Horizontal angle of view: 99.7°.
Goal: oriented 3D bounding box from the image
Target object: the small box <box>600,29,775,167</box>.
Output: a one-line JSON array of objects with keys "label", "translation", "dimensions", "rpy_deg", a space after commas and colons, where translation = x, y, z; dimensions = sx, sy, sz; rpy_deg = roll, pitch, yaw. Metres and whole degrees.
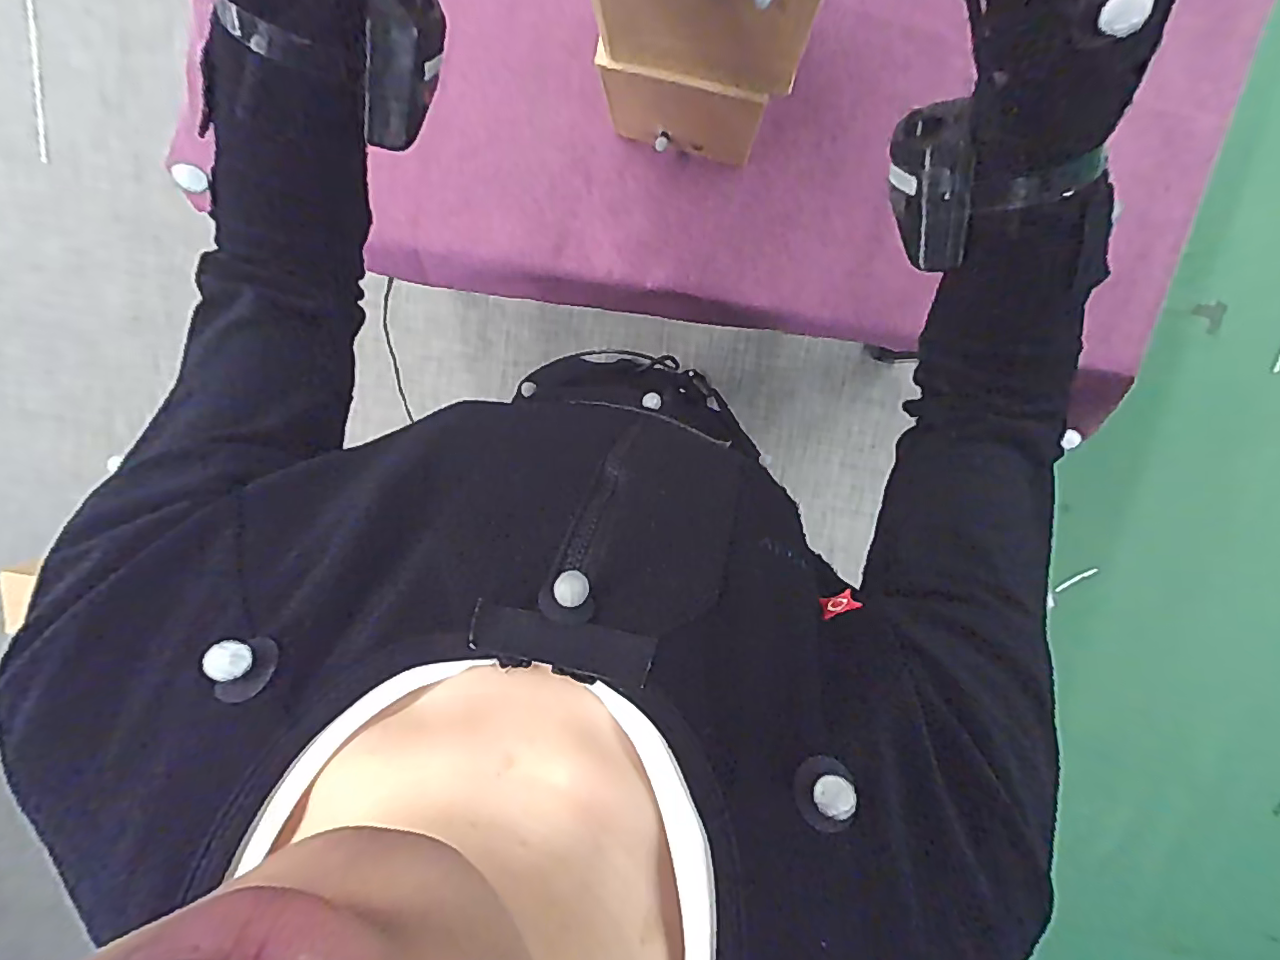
[{"label": "small box", "translation": [0.066, -0.458, 0.553], "dimensions": [0.168, 0.176, 0.179], "rpy_deg": [14, 103, 1]}]

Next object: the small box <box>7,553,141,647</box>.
[{"label": "small box", "translation": [-1.415, 0.296, 1.368], "dimensions": [0.179, 0.176, 0.168], "rpy_deg": [8, 102, 2]}]

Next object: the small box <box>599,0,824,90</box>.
[{"label": "small box", "translation": [0.063, -0.426, 0.395], "dimensions": [0.179, 0.176, 0.168], "rpy_deg": [13, 102, 1]}]
